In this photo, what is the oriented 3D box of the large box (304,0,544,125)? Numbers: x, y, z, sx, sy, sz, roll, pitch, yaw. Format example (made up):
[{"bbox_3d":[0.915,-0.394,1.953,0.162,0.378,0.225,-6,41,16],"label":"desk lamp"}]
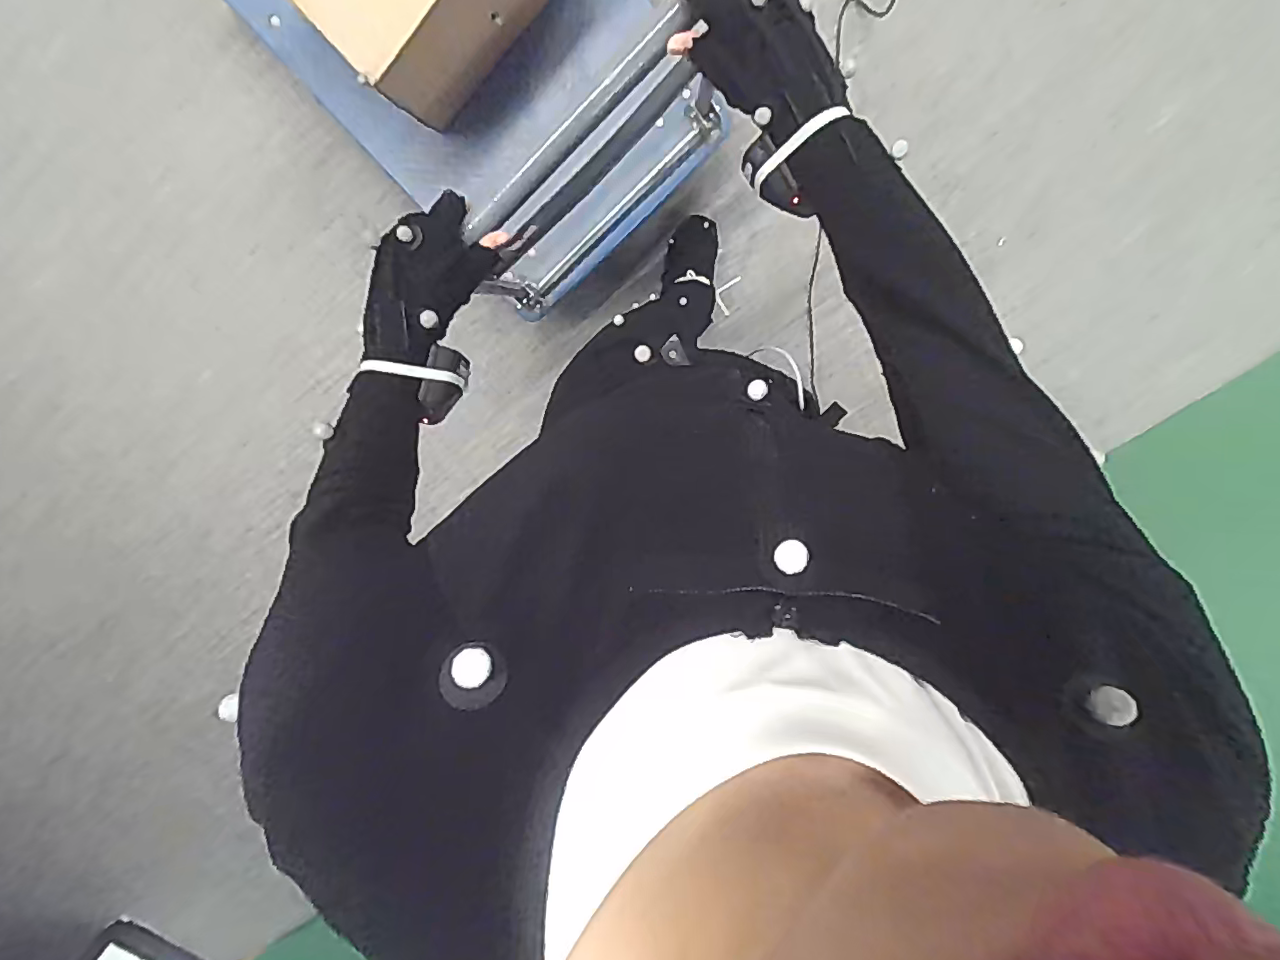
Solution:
[{"bbox_3d":[-0.332,-0.855,0.821,0.408,0.320,0.320,-42,106,15],"label":"large box"}]
